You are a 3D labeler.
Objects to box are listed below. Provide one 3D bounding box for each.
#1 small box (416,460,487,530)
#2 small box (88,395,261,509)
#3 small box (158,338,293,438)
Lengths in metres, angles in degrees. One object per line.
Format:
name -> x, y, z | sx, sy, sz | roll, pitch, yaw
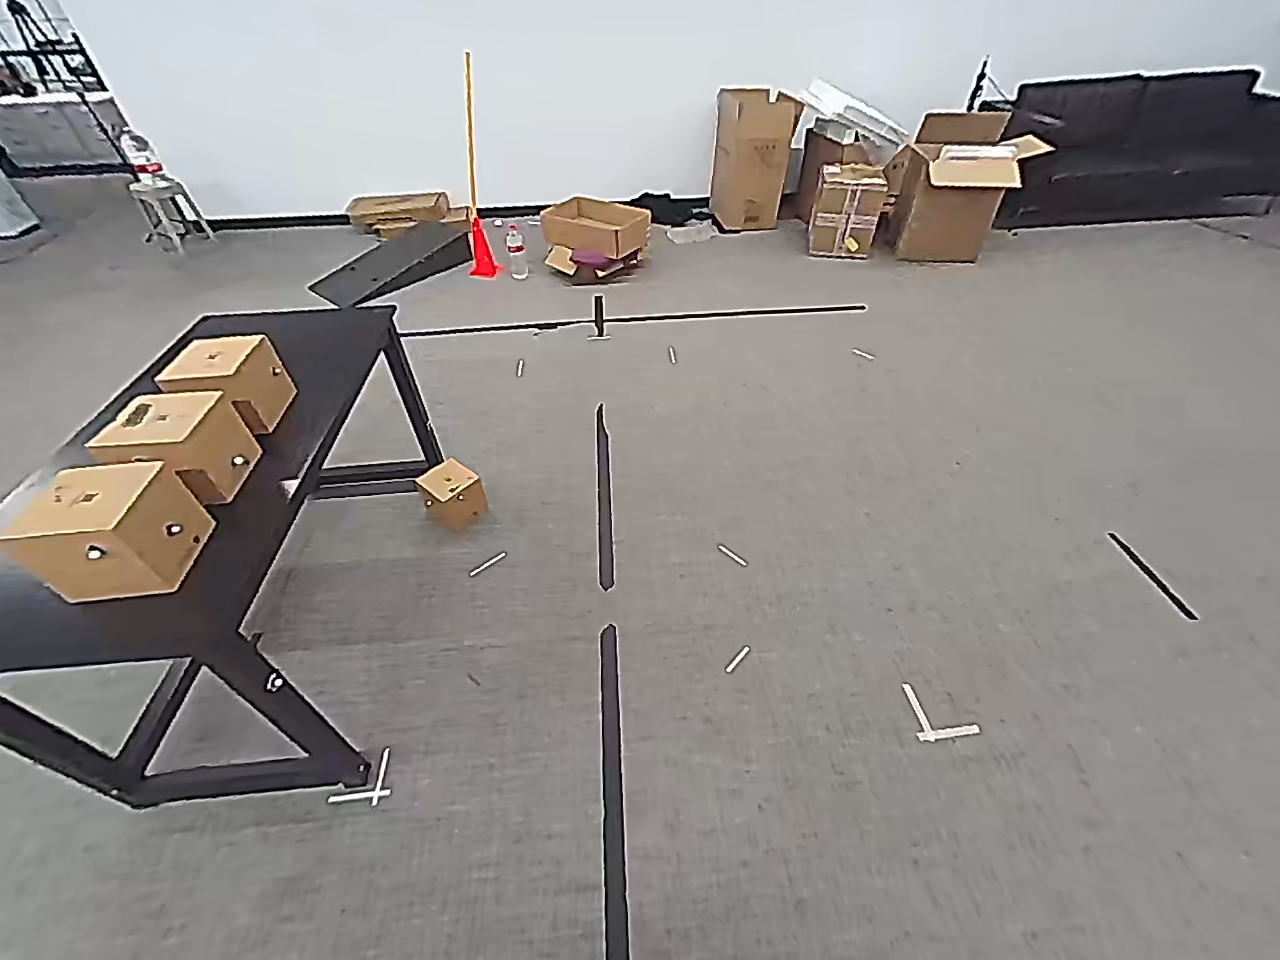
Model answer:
small box -> -0.705, 0.059, 2.032 | 0.179, 0.176, 0.168 | 28, 52, 27
small box -> -0.933, -0.054, 1.106 | 0.179, 0.176, 0.168 | -4, 44, -3
small box -> -0.959, -0.212, 1.274 | 0.168, 0.176, 0.179 | -6, 45, -3
